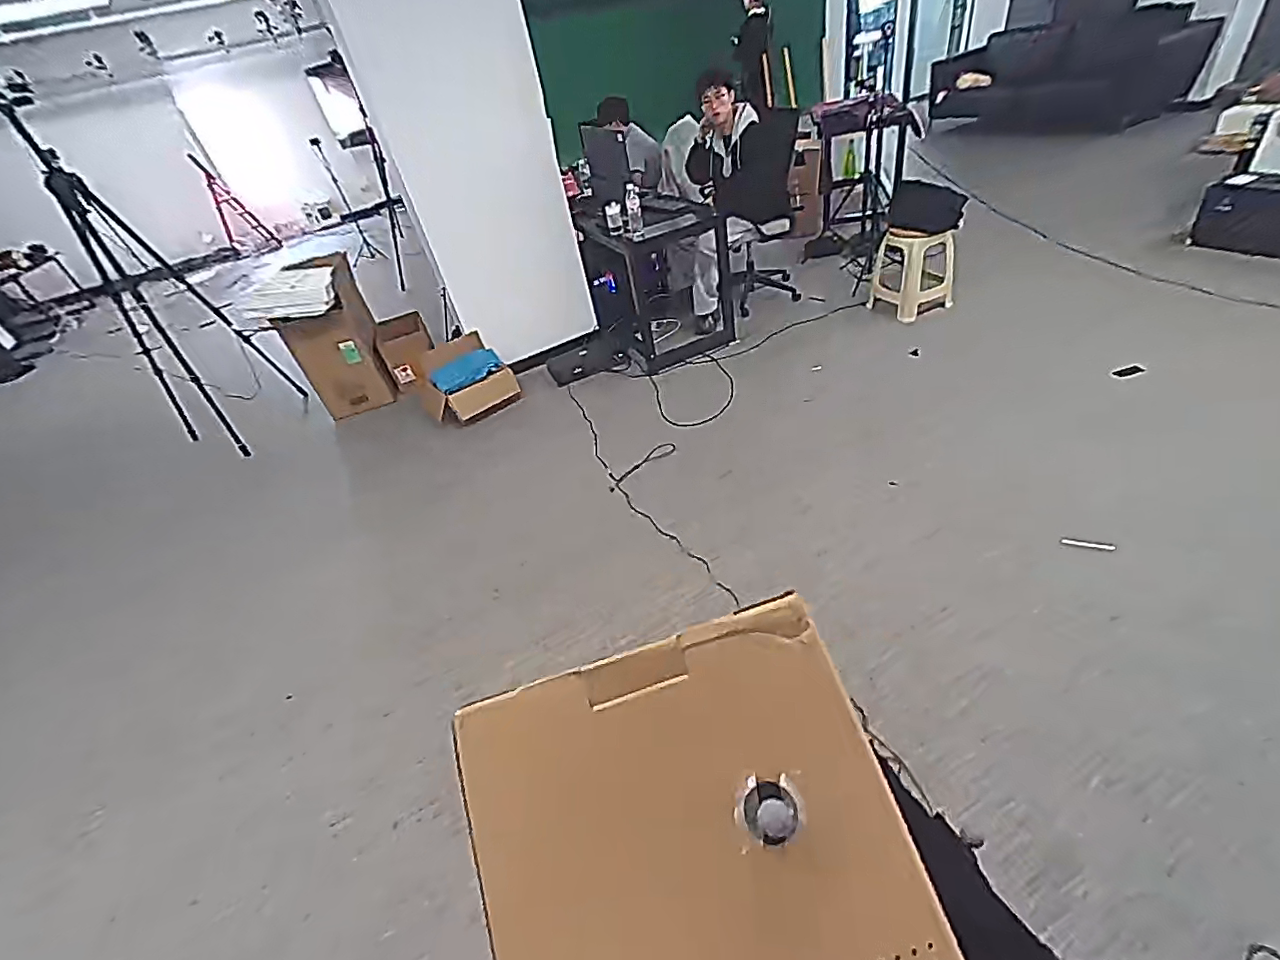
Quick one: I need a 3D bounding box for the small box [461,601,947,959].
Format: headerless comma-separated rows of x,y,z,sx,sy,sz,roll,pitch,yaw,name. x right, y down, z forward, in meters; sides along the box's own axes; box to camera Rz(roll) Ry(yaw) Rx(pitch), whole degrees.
0.029,0.182,0.294,0.168,0.179,0.176,-19,70,-1,small box
